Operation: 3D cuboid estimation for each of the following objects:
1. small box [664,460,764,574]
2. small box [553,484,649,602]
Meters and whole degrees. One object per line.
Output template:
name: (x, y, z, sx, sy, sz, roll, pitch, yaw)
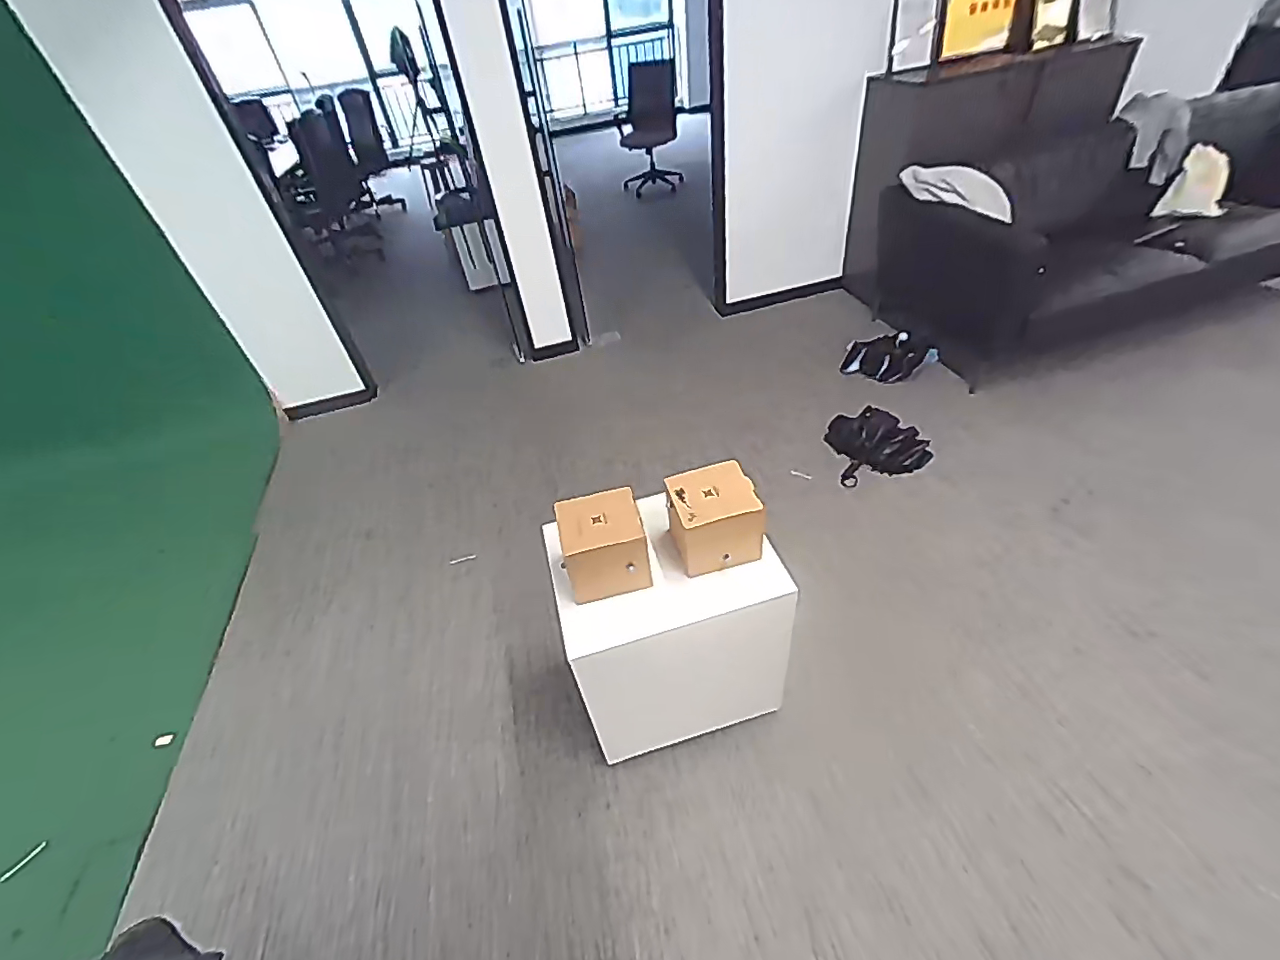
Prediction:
small box: (0.160, 0.085, 1.211, 0.179, 0.176, 0.168, -13, 43, -7)
small box: (-0.082, 0.139, 1.188, 0.179, 0.176, 0.168, -14, 42, -7)
